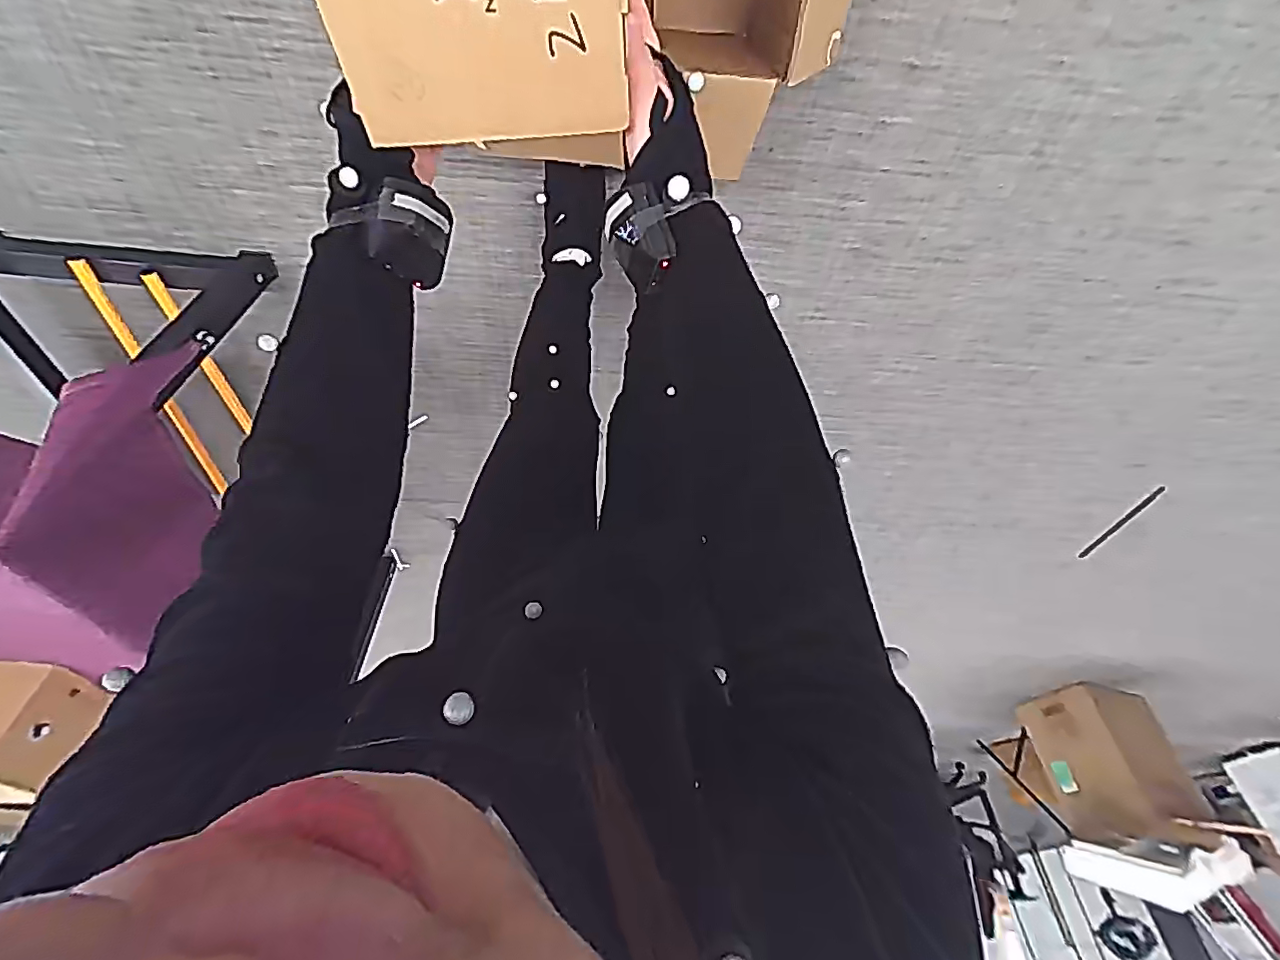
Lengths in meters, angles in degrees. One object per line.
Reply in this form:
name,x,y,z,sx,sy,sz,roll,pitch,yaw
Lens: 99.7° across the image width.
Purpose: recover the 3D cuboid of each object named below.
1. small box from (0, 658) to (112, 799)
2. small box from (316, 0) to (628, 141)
small box,-1.003,0.390,0.854,0.179,0.176,0.168,4,138,-3
small box,-0.100,-0.342,0.345,0.179,0.176,0.168,-4,142,0
